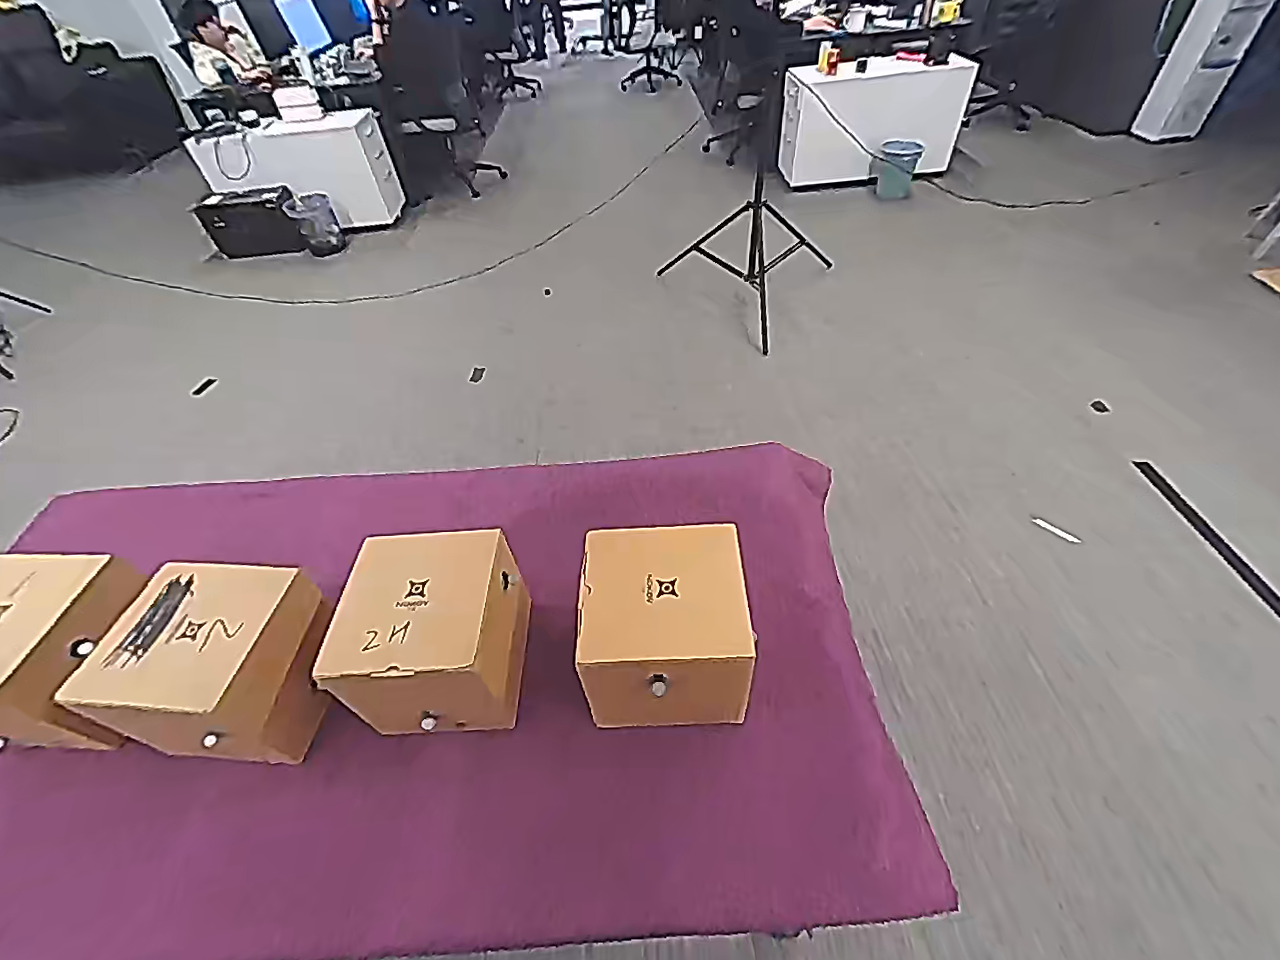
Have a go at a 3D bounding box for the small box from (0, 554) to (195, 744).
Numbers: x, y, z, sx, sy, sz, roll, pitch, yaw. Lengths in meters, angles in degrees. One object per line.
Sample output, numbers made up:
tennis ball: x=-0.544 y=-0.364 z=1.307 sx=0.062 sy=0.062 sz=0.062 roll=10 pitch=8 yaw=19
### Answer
small box: x=-0.714 y=0.210 z=0.665 sx=0.168 sy=0.176 sz=0.179 roll=0 pitch=47 yaw=5

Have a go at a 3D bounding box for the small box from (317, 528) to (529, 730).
small box: x=-0.237 y=0.179 z=0.649 sx=0.168 sy=0.176 sz=0.179 roll=-4 pitch=47 yaw=3

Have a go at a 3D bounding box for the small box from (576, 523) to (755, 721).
small box: x=0.030 y=0.169 z=0.633 sx=0.179 sy=0.176 sz=0.168 roll=-4 pitch=45 yaw=3
